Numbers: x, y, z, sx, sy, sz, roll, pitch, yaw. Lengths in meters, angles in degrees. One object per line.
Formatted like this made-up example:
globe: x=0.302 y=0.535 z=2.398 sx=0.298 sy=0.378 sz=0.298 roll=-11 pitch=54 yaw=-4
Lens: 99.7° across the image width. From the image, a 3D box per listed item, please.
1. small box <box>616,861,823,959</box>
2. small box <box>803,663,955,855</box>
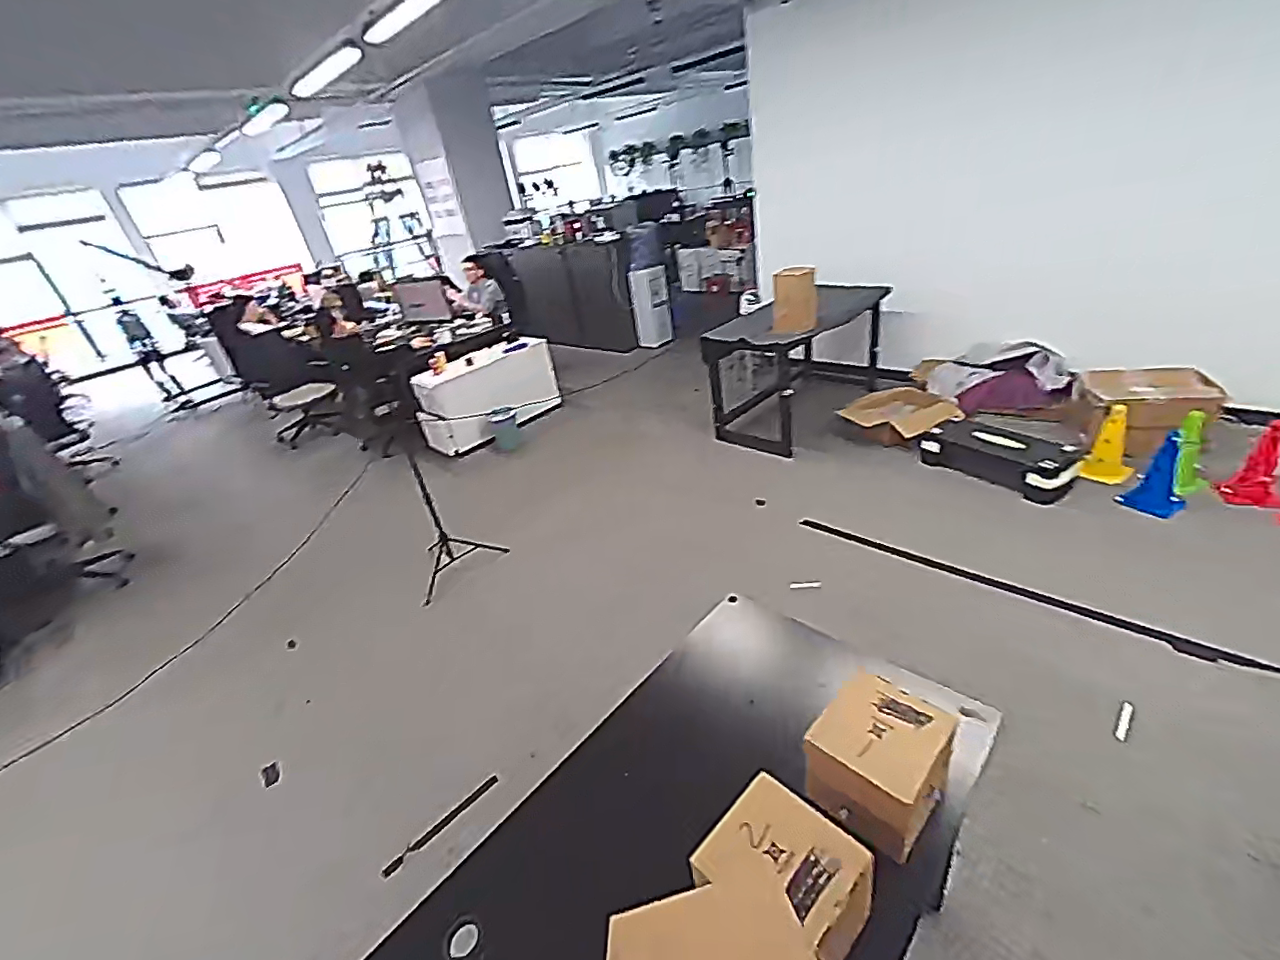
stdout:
small box: x=0.074 y=0.488 z=0.475 sx=0.168 sy=0.176 sz=0.179 roll=-6 pitch=33 yaw=-16
small box: x=0.381 y=0.444 z=0.874 sx=0.179 sy=0.176 sz=0.168 roll=-35 pitch=36 yaw=-32
